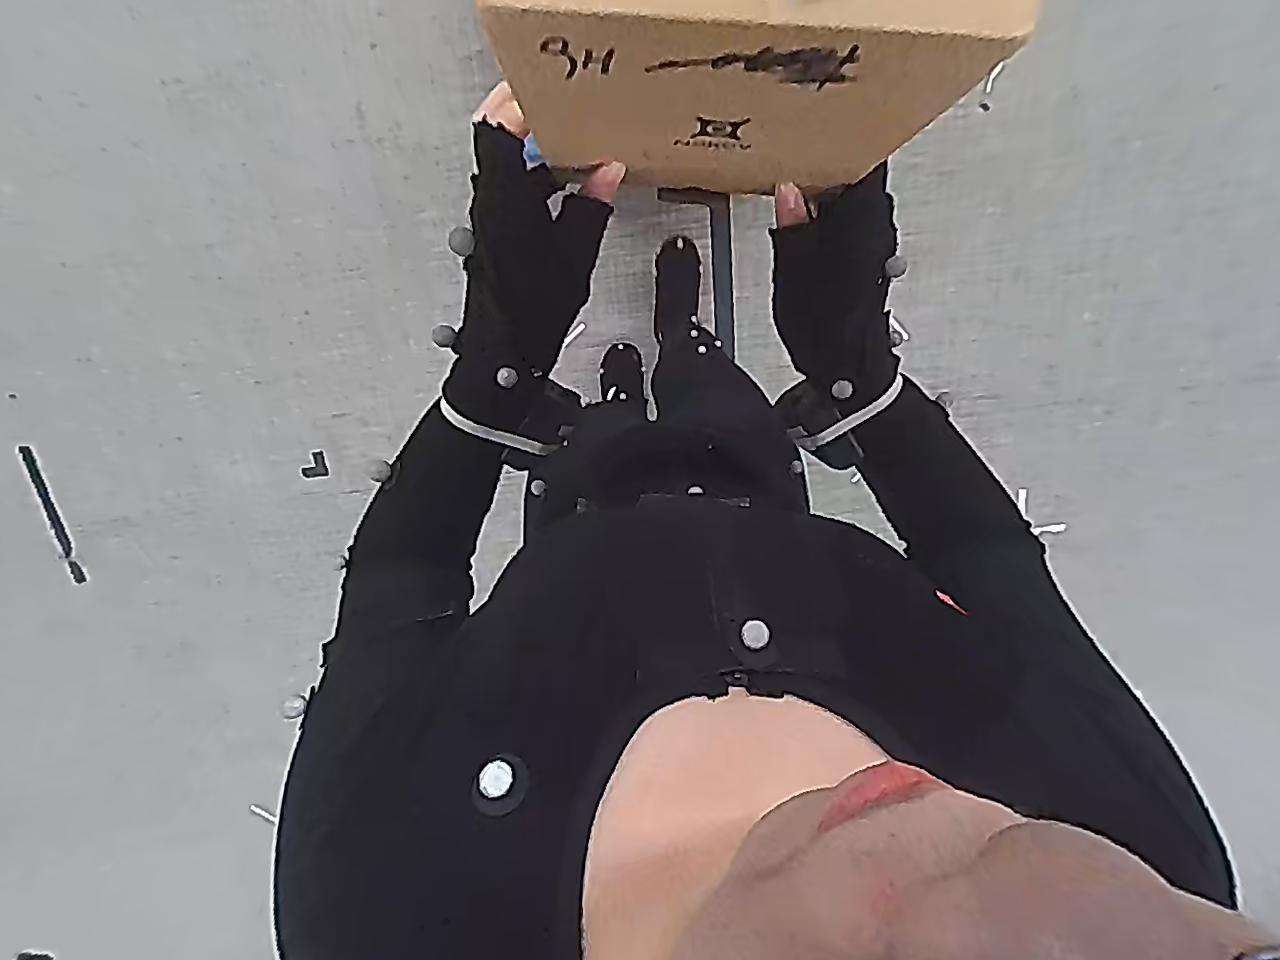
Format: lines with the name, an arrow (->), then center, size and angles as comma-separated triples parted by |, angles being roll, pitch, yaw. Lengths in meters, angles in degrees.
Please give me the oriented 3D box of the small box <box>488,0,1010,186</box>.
small box -> 0.036, -0.240, 0.222 | 0.168, 0.179, 0.176 | 2, 104, -2
